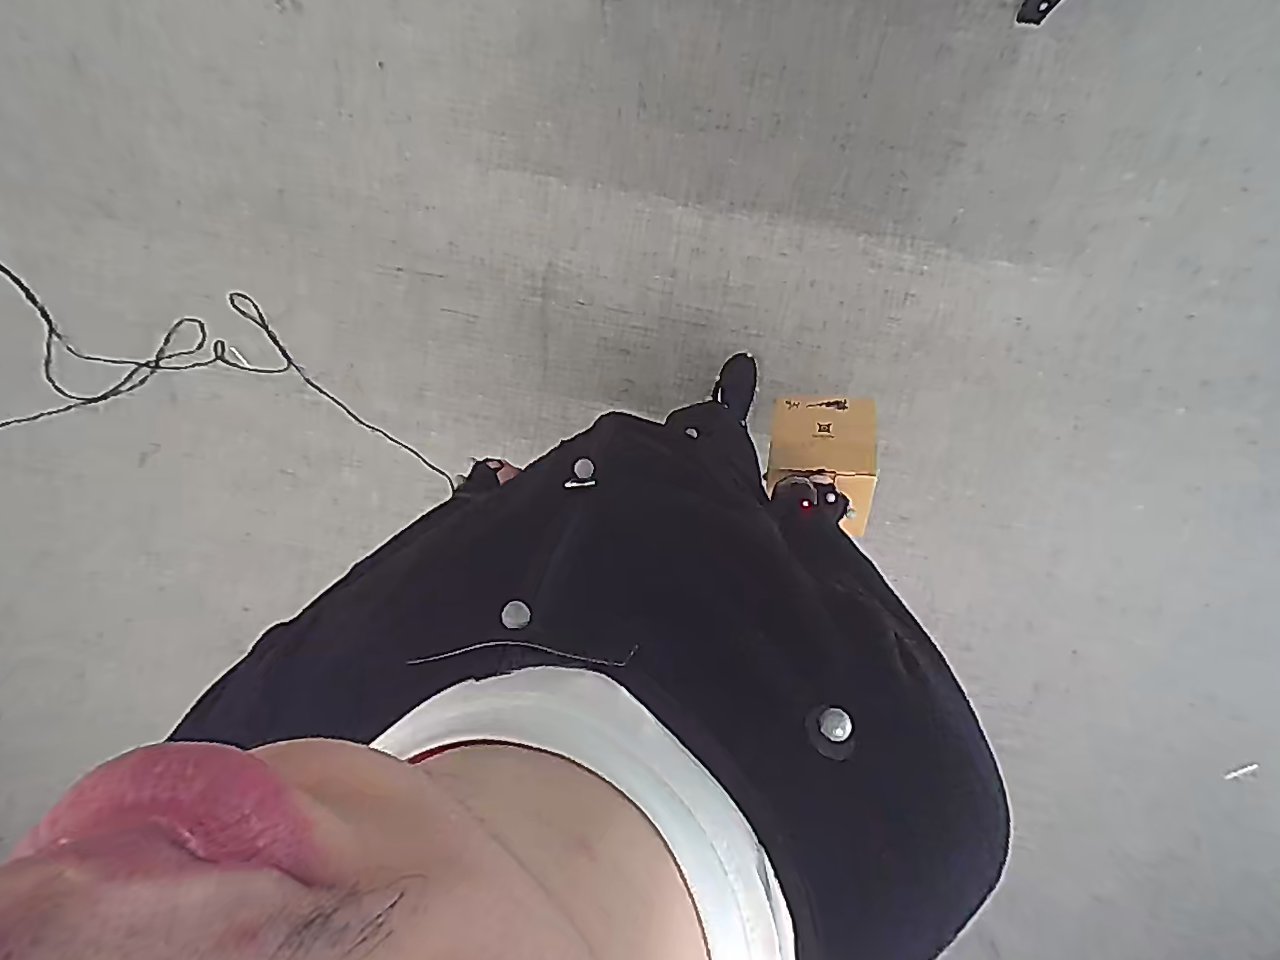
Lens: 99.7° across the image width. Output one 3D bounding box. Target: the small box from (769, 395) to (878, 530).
[{"bbox_3d":[0.320,-0.027,0.952,0.168,0.179,0.176,1,142,17],"label":"small box"}]
